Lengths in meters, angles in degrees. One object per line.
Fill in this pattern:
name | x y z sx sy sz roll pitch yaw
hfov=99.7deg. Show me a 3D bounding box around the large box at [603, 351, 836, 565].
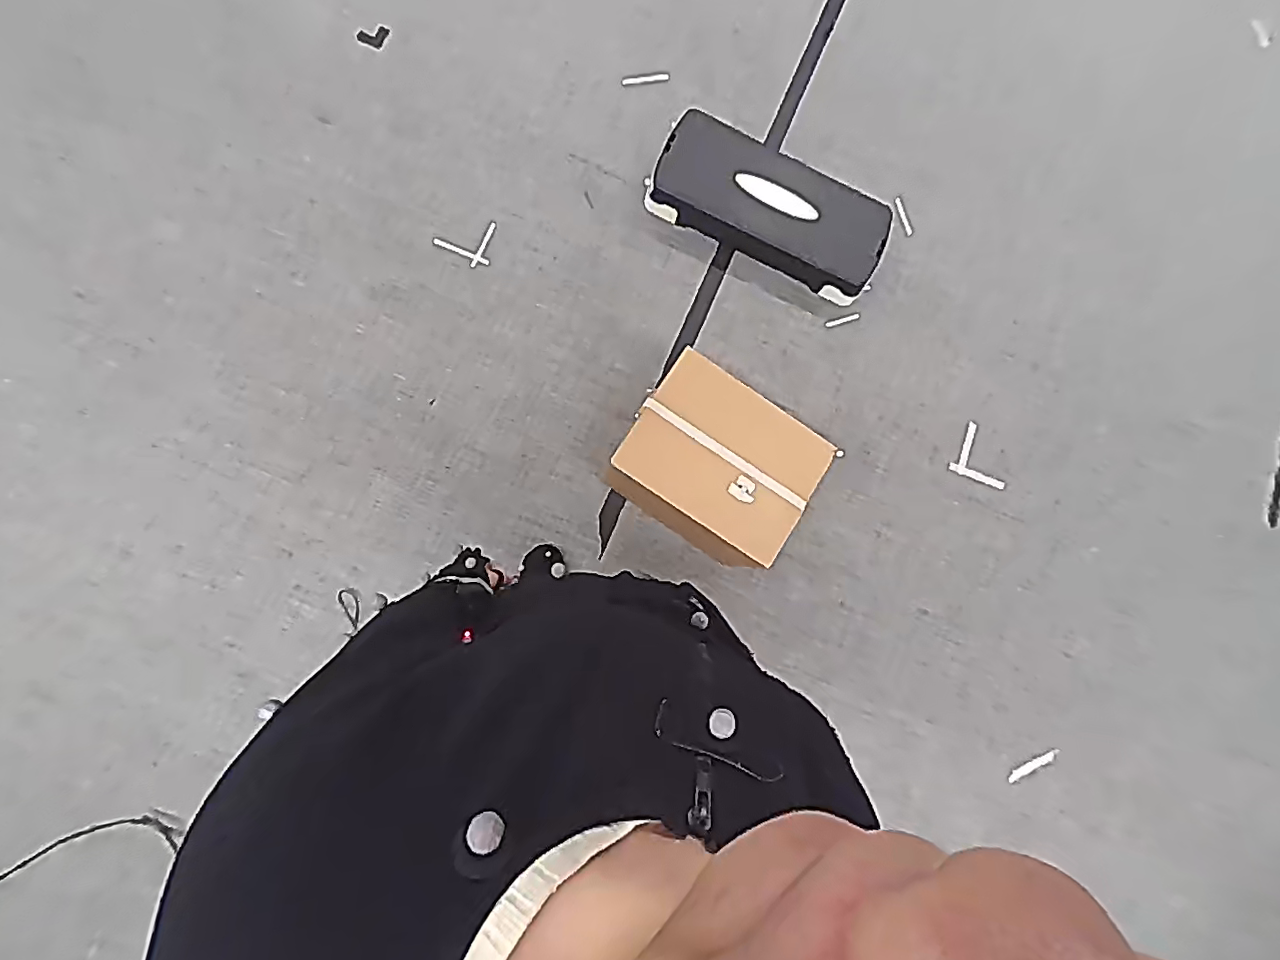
large box | 0.166 -0.033 1.295 0.408 0.320 0.320 33 80 -3
